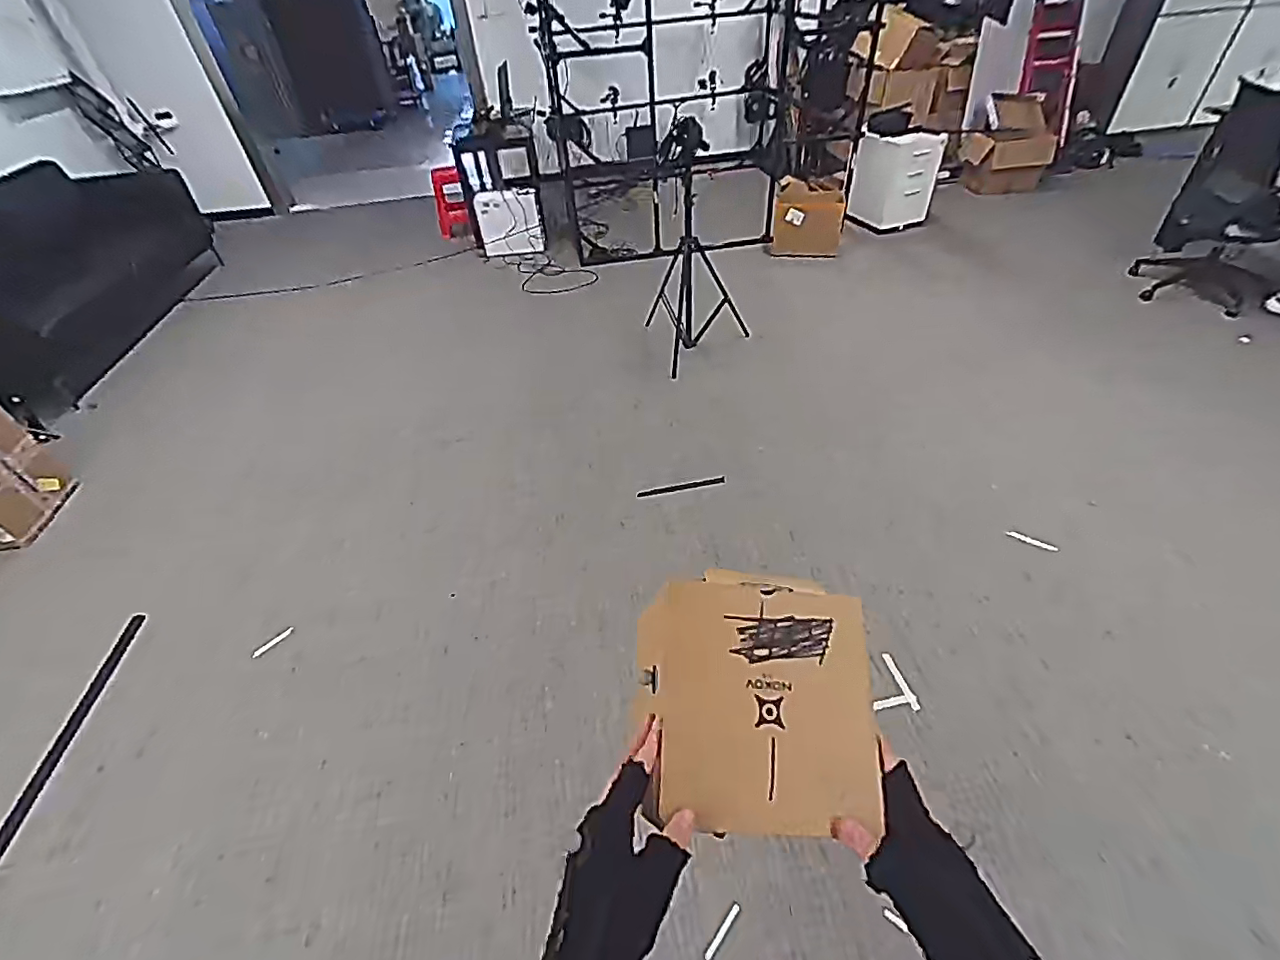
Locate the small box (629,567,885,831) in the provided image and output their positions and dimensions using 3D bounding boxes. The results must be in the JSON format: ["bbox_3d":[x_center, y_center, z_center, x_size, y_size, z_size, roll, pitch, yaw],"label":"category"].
[{"bbox_3d":[0.085,0.192,0.478,0.168,0.176,0.179,7,65,-6],"label":"small box"}]
